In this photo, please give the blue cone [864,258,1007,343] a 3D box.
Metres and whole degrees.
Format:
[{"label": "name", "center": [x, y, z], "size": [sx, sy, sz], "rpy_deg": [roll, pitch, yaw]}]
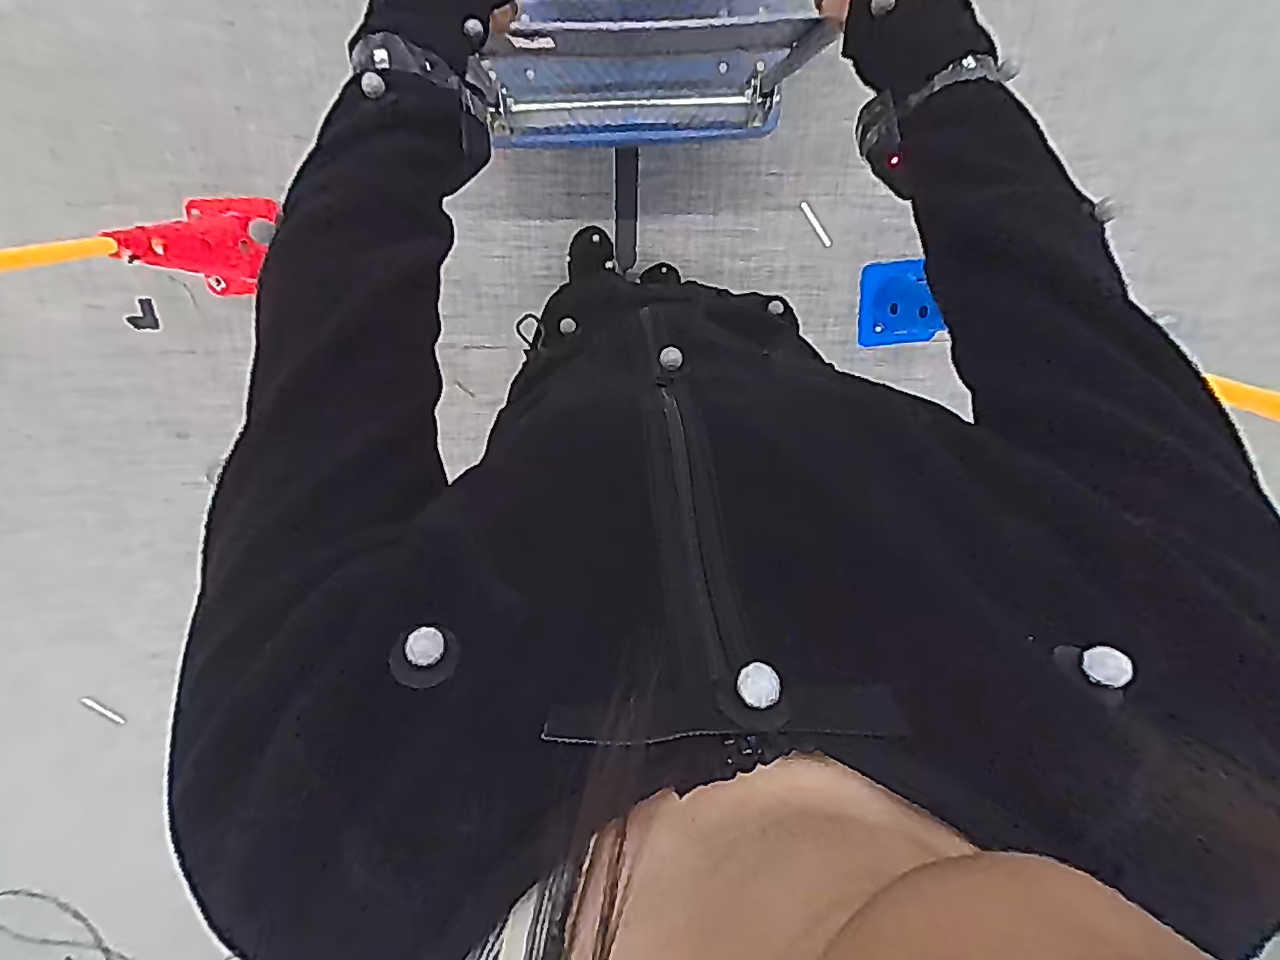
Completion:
[{"label": "blue cone", "center": [0.661, -0.383, 1.188], "size": [0.193, 0.380, 0.192], "rpy_deg": [-5, 111, -2]}]
